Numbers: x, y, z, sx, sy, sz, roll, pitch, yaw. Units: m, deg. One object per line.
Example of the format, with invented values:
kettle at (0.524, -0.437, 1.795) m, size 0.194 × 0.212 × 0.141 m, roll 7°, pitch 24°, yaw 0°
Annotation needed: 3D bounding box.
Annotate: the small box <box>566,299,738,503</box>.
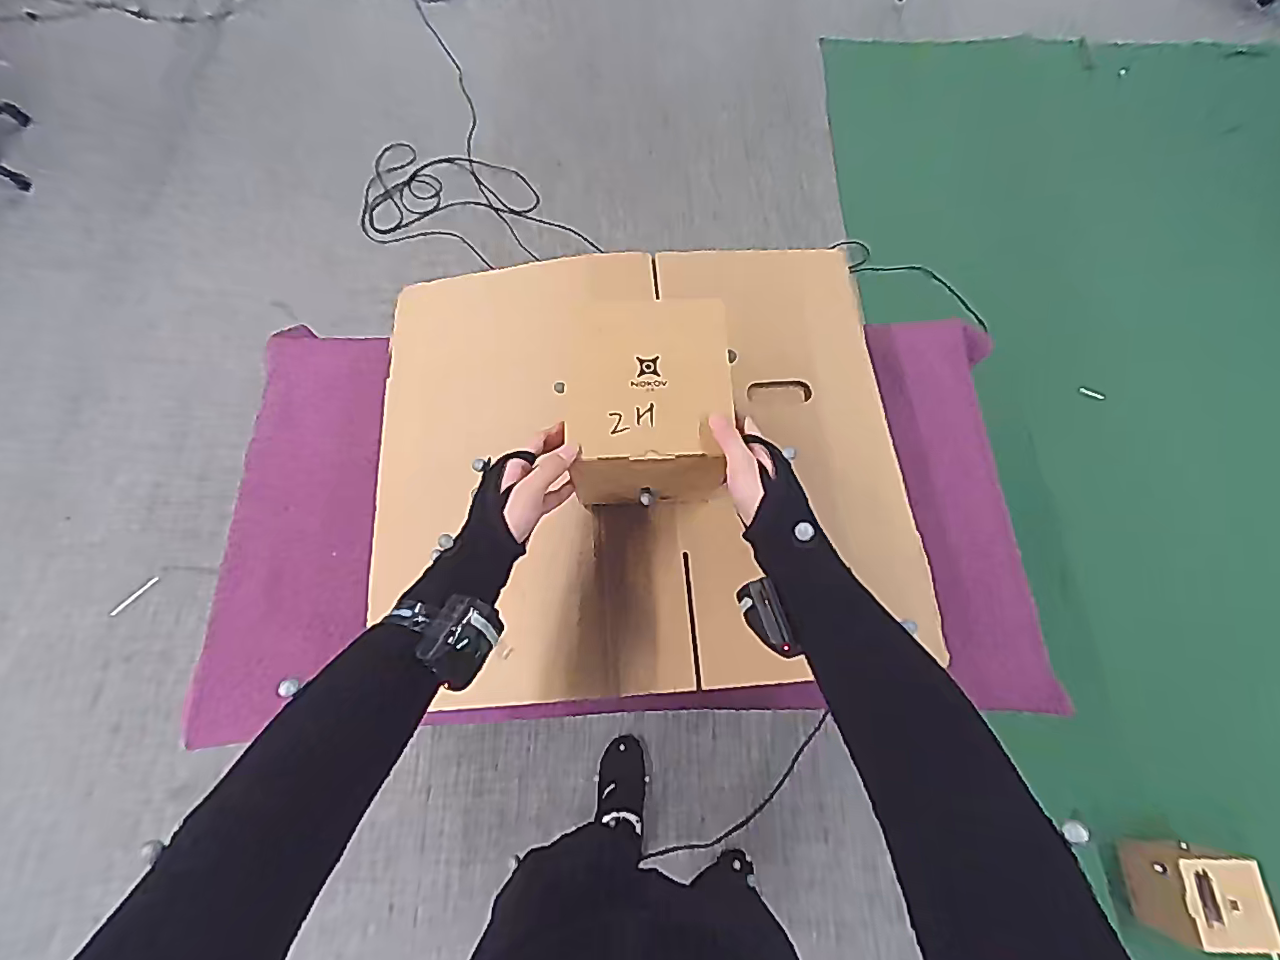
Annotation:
small box at (0.008, -0.080, 0.607) m, size 0.168 × 0.176 × 0.179 m, roll -1°, pitch 73°, yaw -1°
